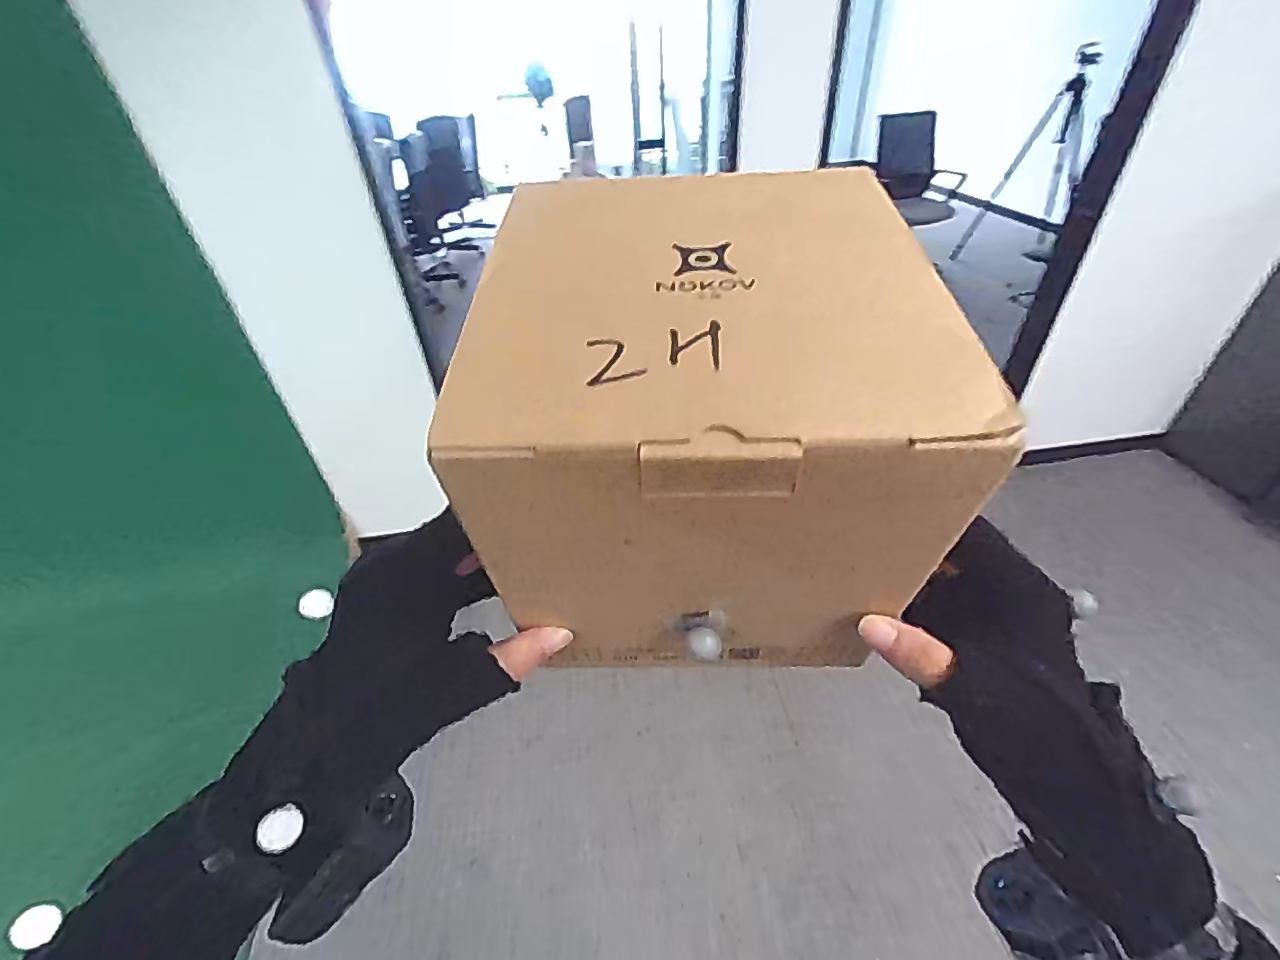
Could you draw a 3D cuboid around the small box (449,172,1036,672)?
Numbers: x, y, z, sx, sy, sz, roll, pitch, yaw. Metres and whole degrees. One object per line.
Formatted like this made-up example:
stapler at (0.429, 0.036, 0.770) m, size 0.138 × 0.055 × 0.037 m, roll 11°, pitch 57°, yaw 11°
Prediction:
small box at (0.031, -0.024, 0.263) m, size 0.168 × 0.176 × 0.179 m, roll -1°, pitch 52°, yaw 3°
